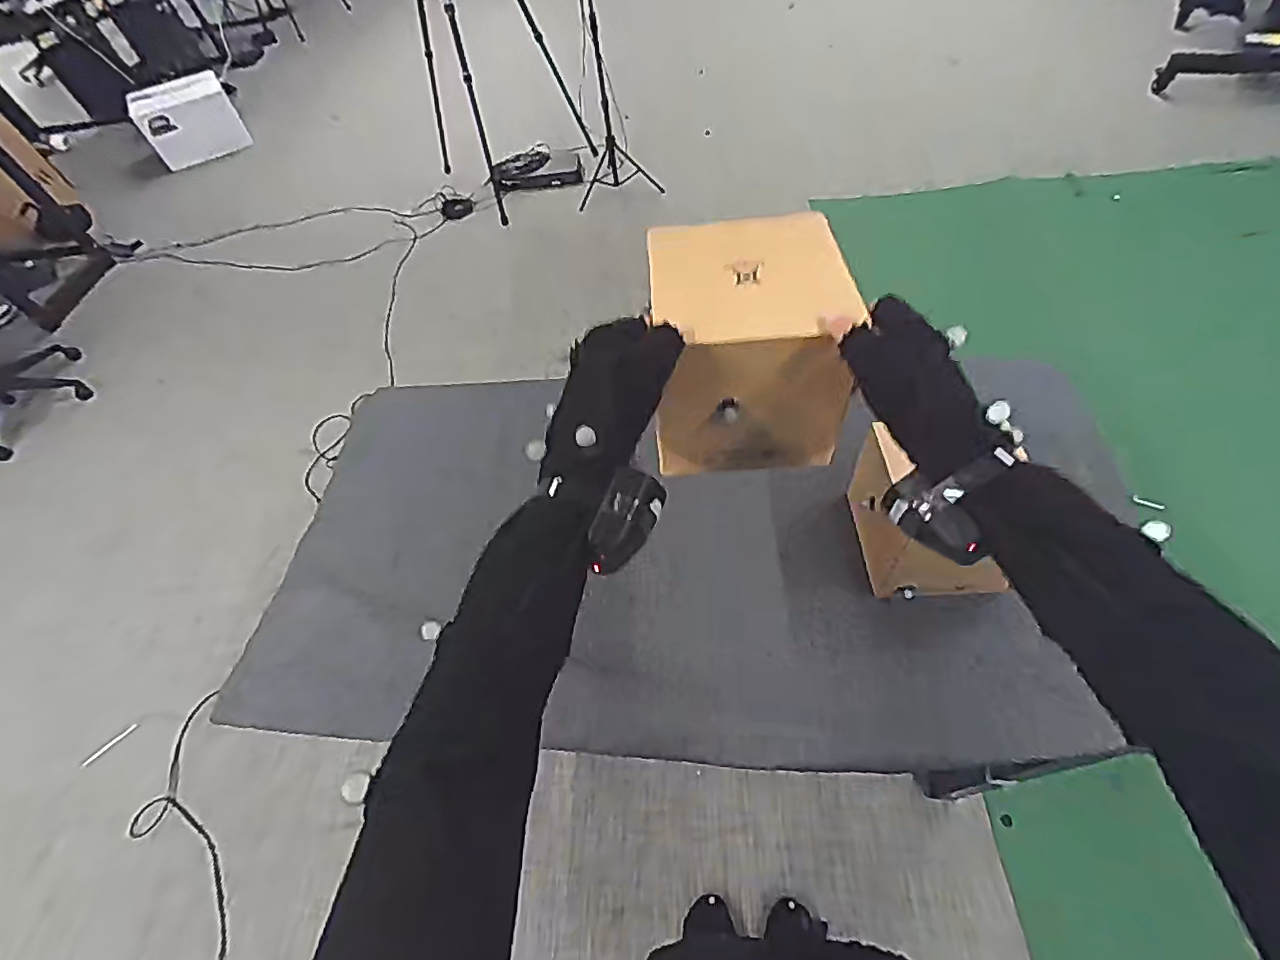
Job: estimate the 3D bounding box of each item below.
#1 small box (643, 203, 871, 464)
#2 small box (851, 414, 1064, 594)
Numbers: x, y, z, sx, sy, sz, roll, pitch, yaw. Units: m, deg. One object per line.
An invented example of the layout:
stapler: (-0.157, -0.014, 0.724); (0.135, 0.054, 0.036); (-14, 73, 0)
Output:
small box: (0.093, -0.127, 0.506); (0.168, 0.176, 0.179); (-4, 52, 3)
small box: (0.388, 0.039, 0.702); (0.168, 0.176, 0.179); (-4, 53, 5)
